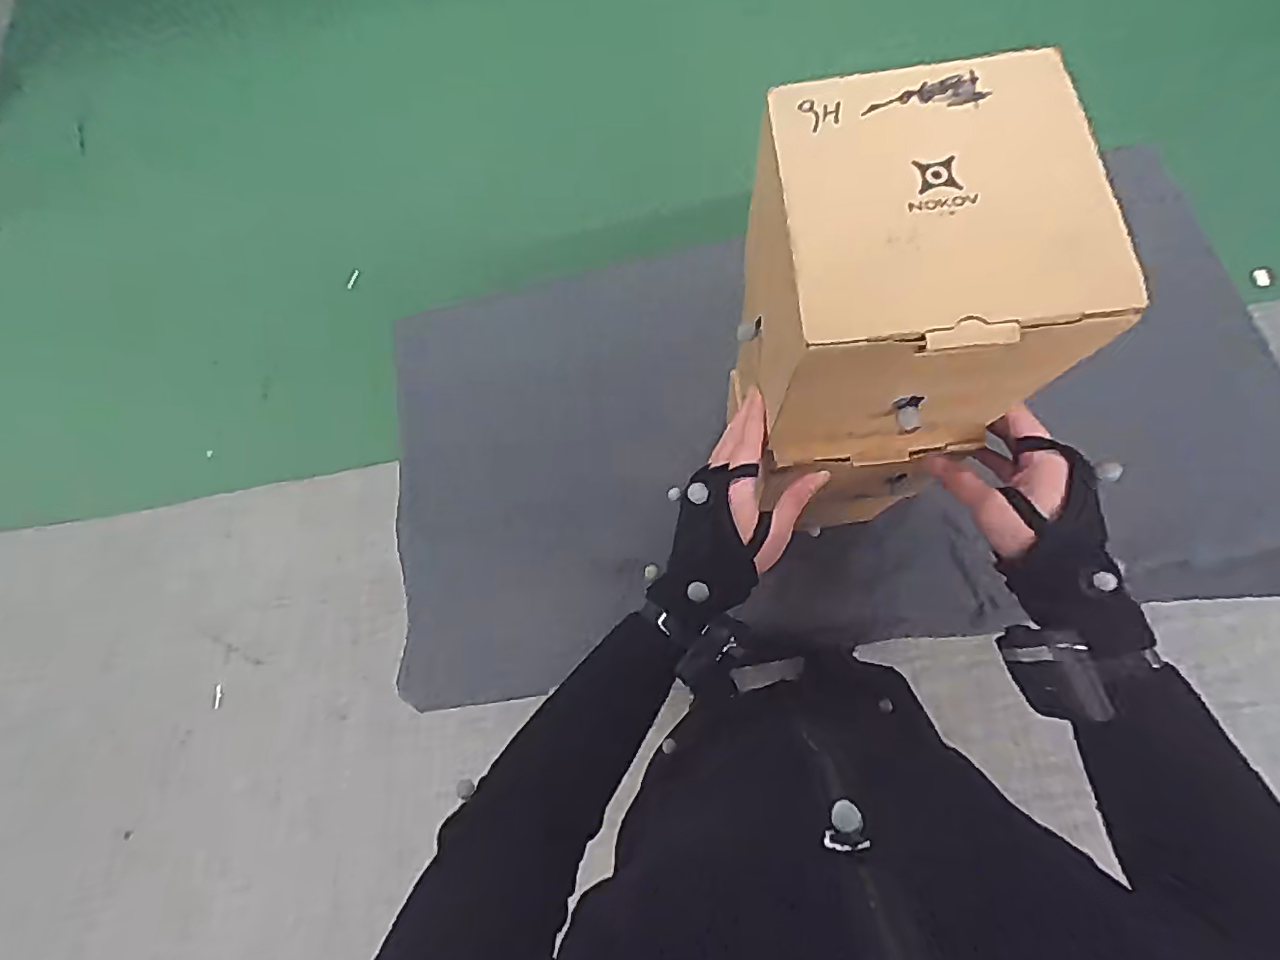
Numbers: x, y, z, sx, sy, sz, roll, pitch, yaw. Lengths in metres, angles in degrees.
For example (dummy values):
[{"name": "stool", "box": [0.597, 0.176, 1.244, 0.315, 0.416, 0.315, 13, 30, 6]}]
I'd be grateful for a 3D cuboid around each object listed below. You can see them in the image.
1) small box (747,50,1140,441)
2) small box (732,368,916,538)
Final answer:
[{"name": "small box", "box": [0.168, -0.132, 0.367, 0.168, 0.176, 0.179, -5, 75, 5]}, {"name": "small box", "box": [0.211, -0.036, 0.675, 0.168, 0.176, 0.179, -10, 74, 5]}]
